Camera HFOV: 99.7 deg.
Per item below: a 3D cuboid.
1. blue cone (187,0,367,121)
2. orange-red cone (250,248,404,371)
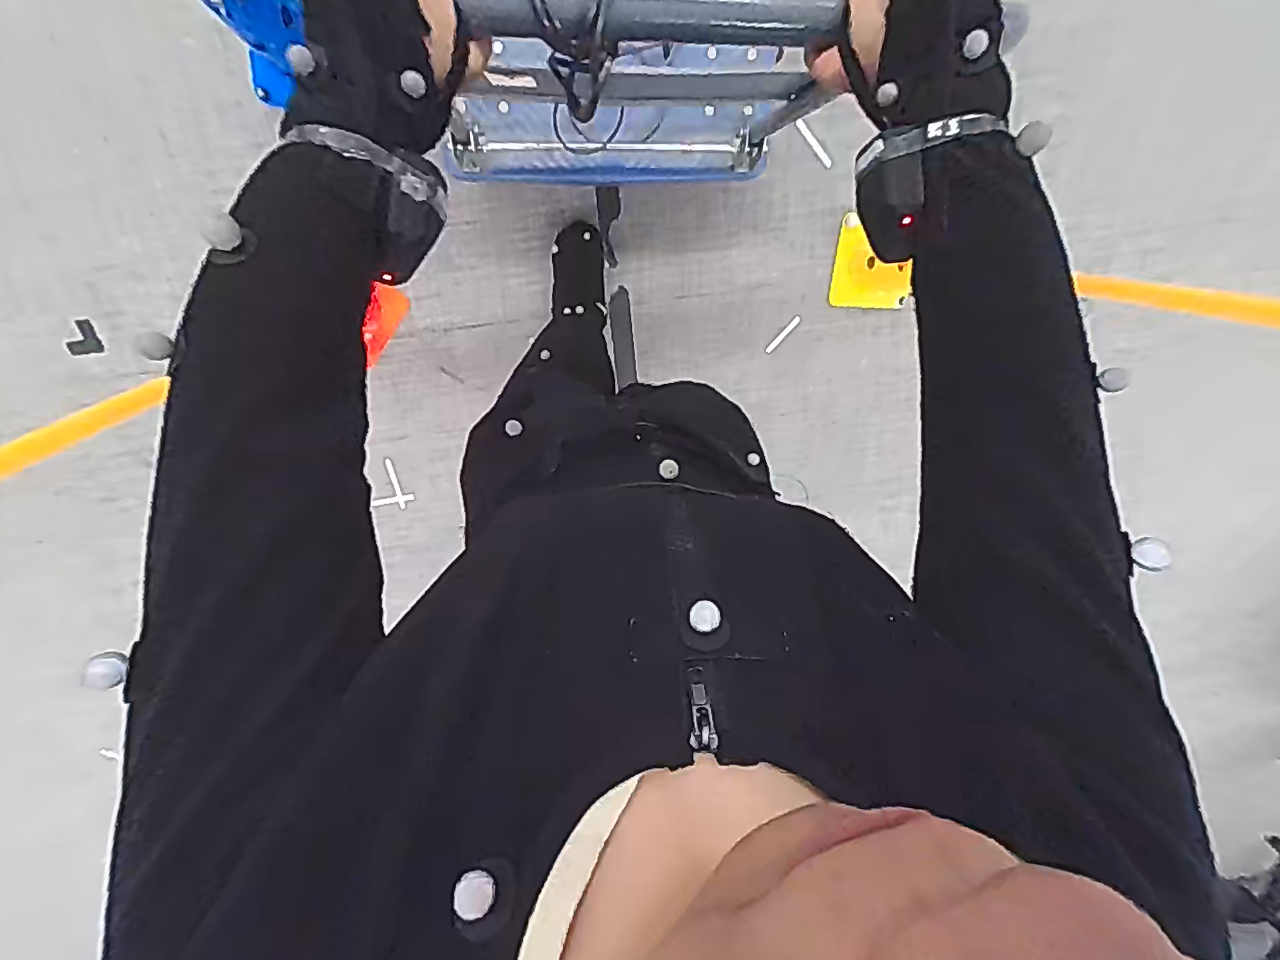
[{"bbox_3d":[-0.574,-0.695,0.819,0.193,0.380,0.192,5,115,-10],"label":"blue cone"},{"bbox_3d":[-0.605,-0.286,0.987,0.198,0.360,0.199,35,104,-21],"label":"orange-red cone"}]
